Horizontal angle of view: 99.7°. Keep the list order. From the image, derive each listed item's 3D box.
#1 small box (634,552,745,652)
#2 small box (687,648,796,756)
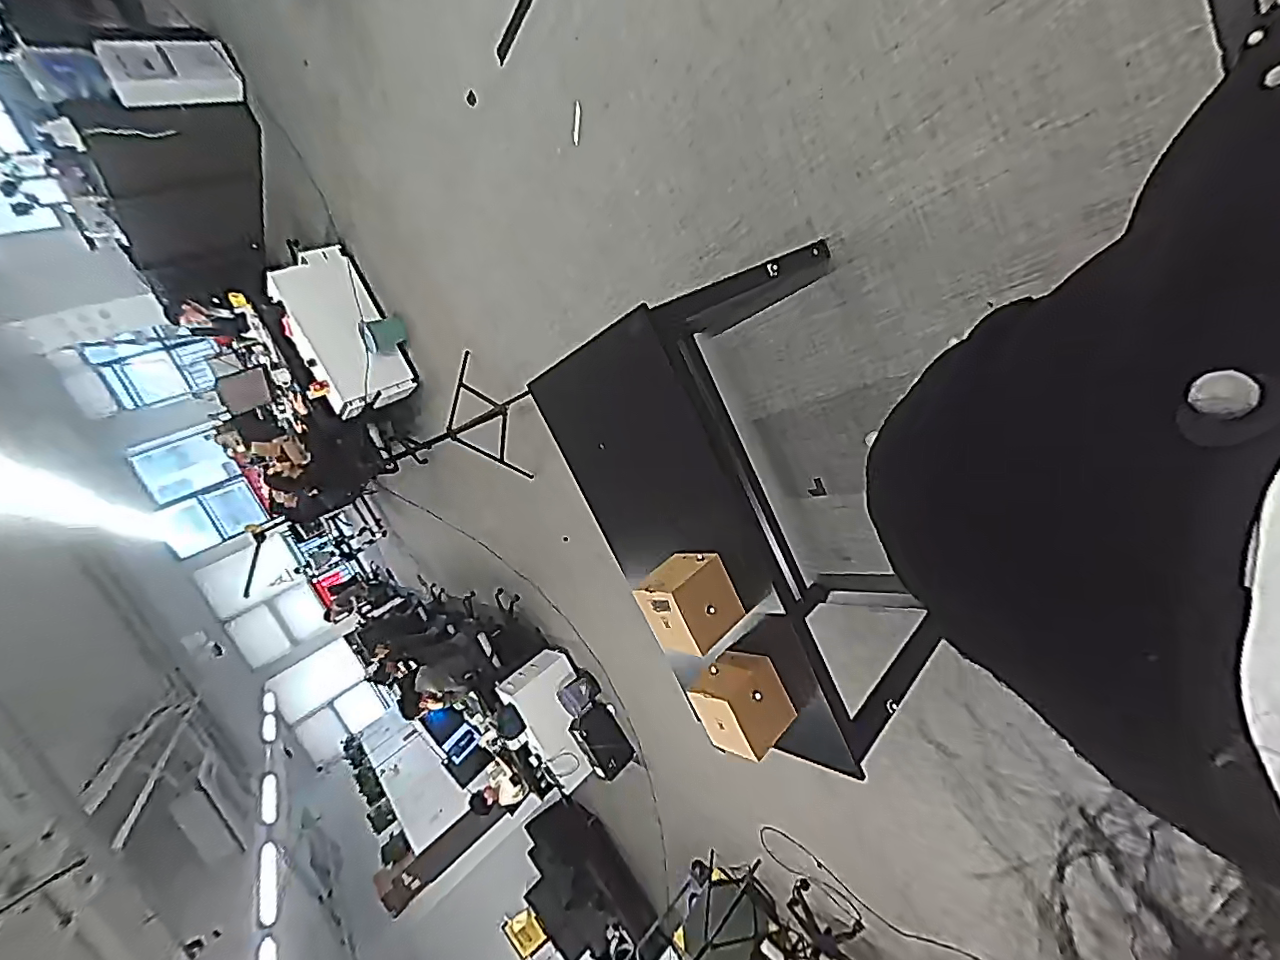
[{"bbox_3d":[0.123,0.288,1.320,0.168,0.176,0.179,-11,109,56],"label":"small box"},{"bbox_3d":[0.257,0.547,1.361,0.168,0.176,0.179,-16,104,57],"label":"small box"}]
